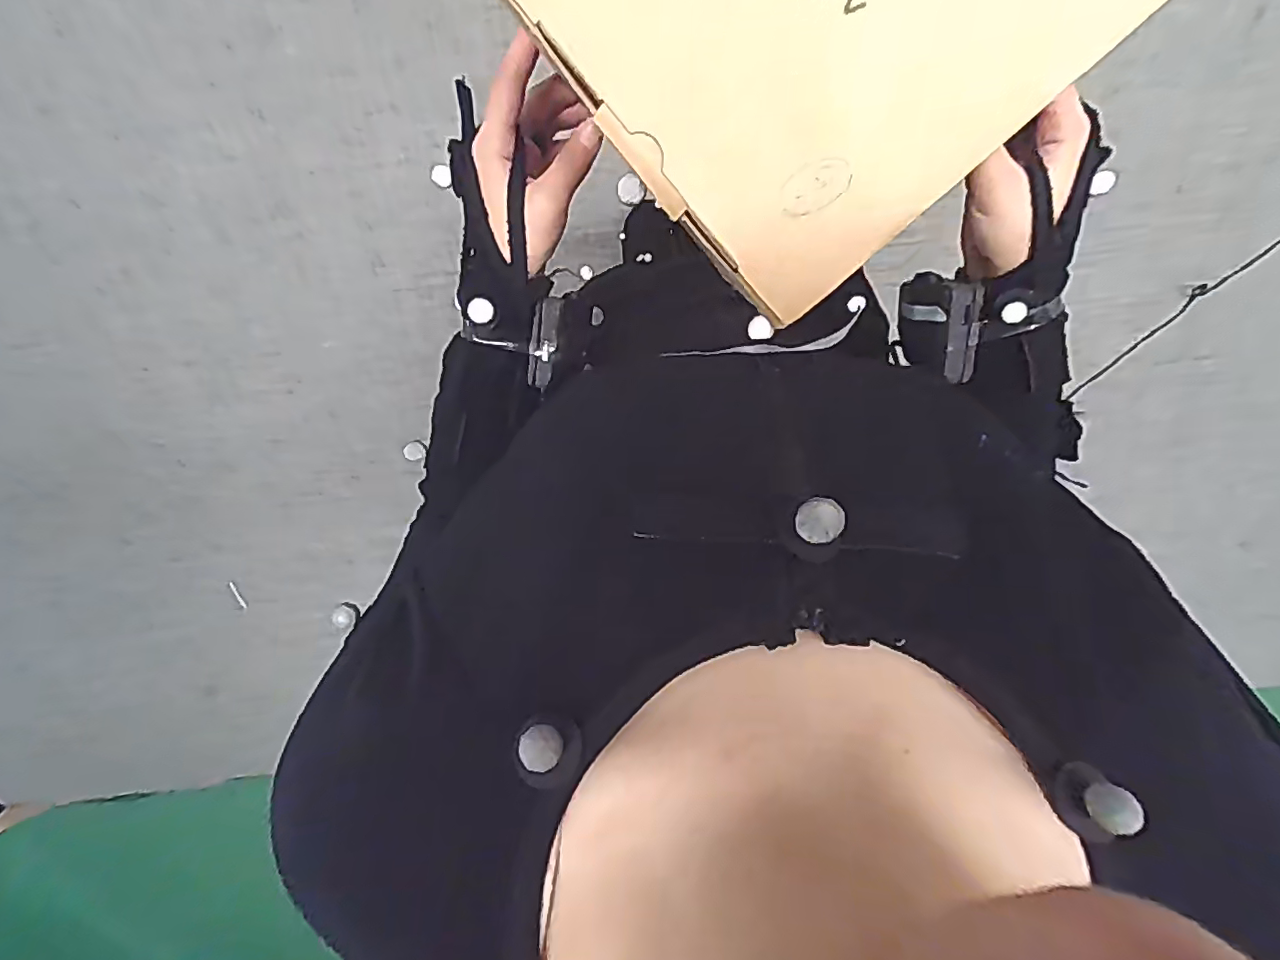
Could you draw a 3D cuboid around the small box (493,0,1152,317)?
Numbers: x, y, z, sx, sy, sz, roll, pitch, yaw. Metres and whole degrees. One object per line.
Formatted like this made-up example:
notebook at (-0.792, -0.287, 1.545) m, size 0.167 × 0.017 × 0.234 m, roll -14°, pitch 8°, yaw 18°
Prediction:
small box at (0.064, -0.203, 0.237) m, size 0.179 × 0.176 × 0.168 m, roll -39°, pitch 108°, yaw 20°
